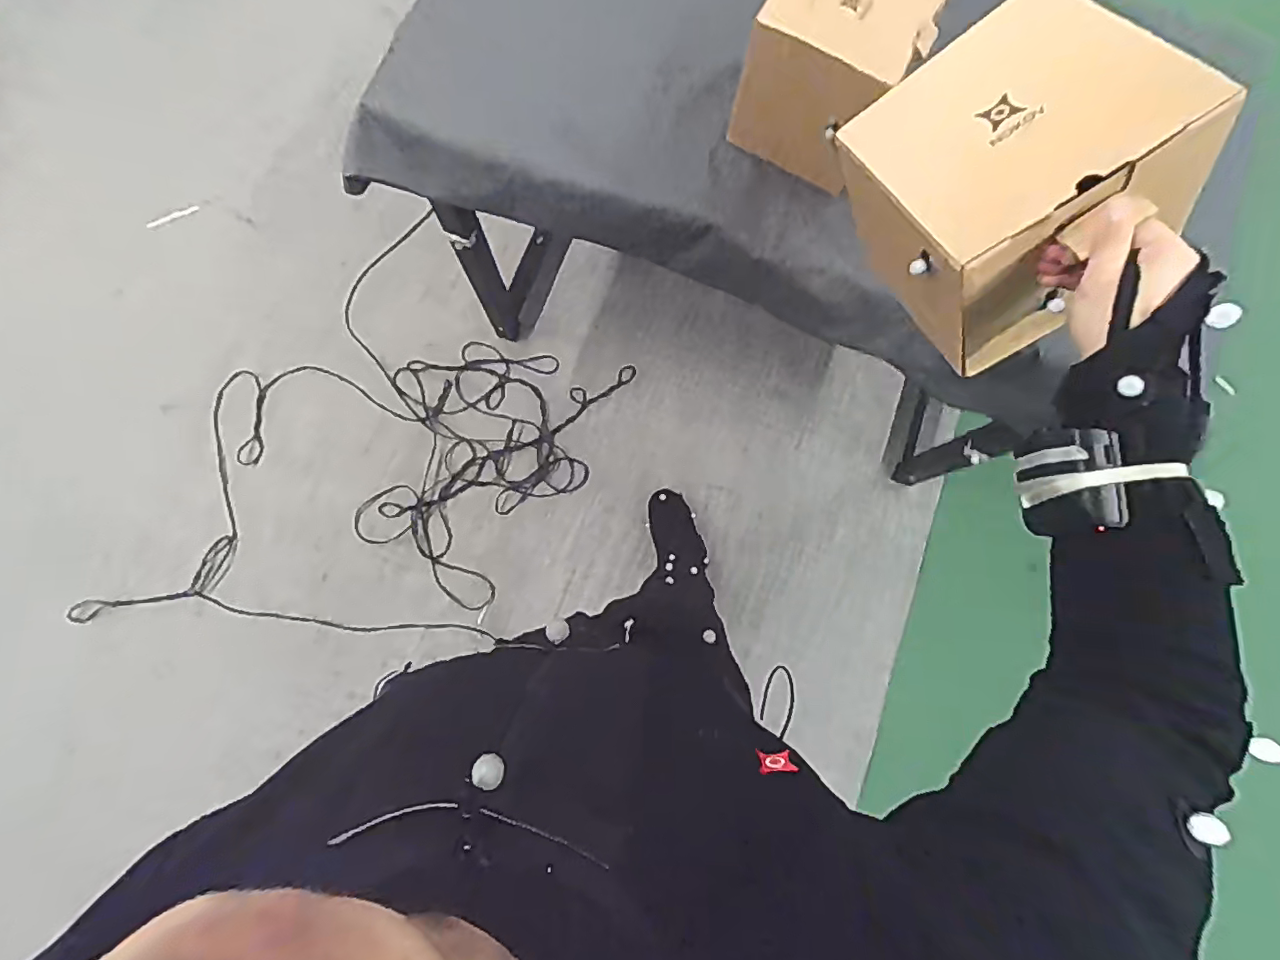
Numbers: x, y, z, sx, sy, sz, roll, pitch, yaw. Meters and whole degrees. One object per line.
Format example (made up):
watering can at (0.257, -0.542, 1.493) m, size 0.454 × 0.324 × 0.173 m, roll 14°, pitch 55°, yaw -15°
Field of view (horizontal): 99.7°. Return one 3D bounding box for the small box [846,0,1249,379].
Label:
small box at (0.295, -0.216, 0.440) m, size 0.168 × 0.176 × 0.179 m, roll -32°, pitch 61°, yaw 18°

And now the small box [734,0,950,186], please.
small box at (0.242, -0.516, 0.686) m, size 0.179 × 0.176 × 0.168 m, roll 28°, pitch 78°, yaw 4°
